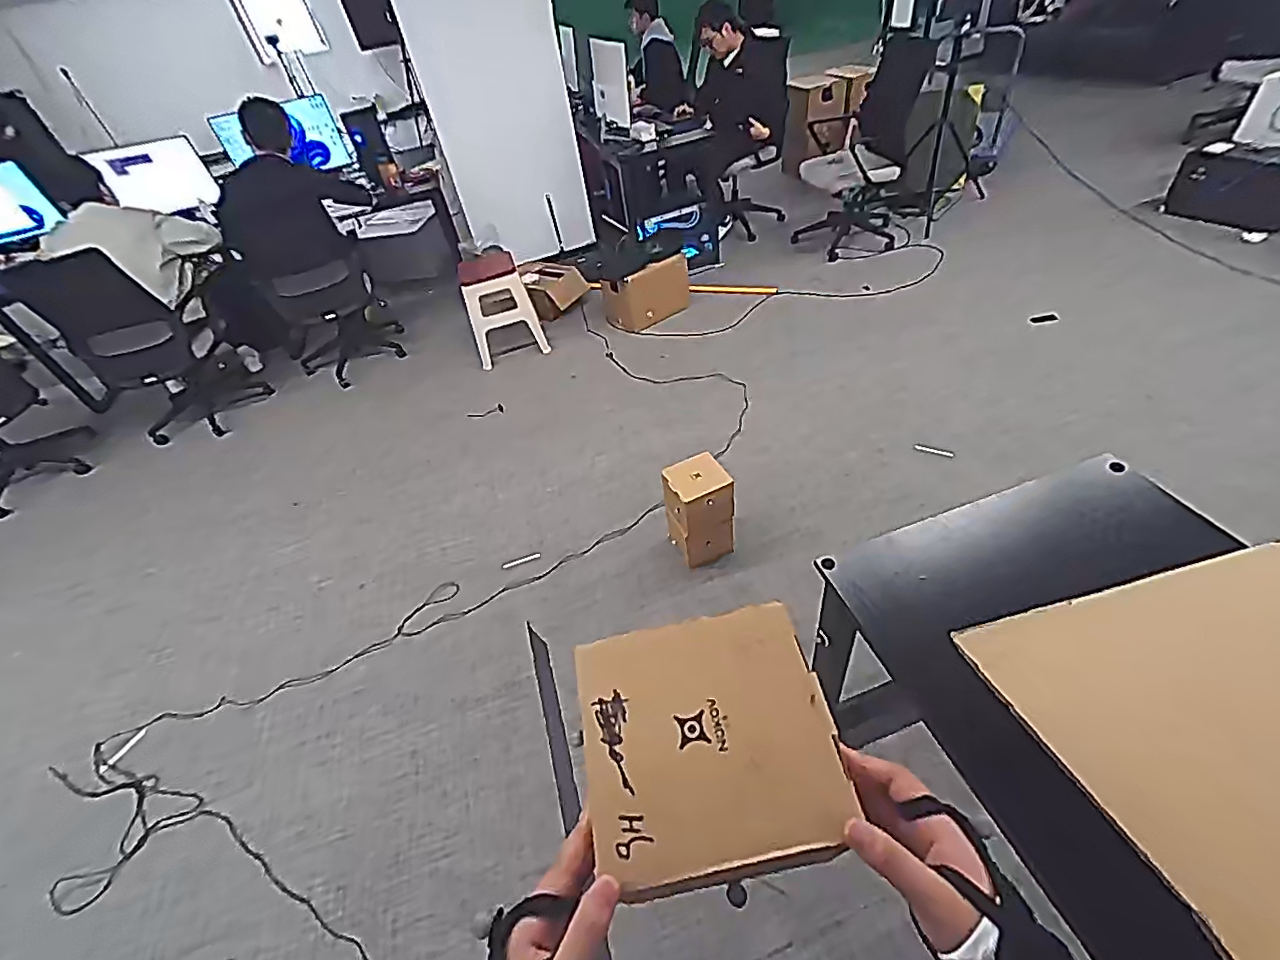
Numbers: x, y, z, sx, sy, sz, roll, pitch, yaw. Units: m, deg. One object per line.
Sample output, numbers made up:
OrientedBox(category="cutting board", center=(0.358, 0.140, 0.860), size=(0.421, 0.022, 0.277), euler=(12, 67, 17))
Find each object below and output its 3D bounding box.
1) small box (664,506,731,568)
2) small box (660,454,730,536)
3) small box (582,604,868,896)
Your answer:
OrientedBox(category="small box", center=(0.200, 0.171, 1.865), size=(0.179, 0.176, 0.168), euler=(-22, 44, -10))
OrientedBox(category="small box", center=(0.183, 0.052, 1.753), size=(0.179, 0.176, 0.168), euler=(-23, 45, -12))
OrientedBox(category="small box", center=(0.056, 0.229, 0.453), size=(0.179, 0.176, 0.168), euler=(-11, 49, -2))
